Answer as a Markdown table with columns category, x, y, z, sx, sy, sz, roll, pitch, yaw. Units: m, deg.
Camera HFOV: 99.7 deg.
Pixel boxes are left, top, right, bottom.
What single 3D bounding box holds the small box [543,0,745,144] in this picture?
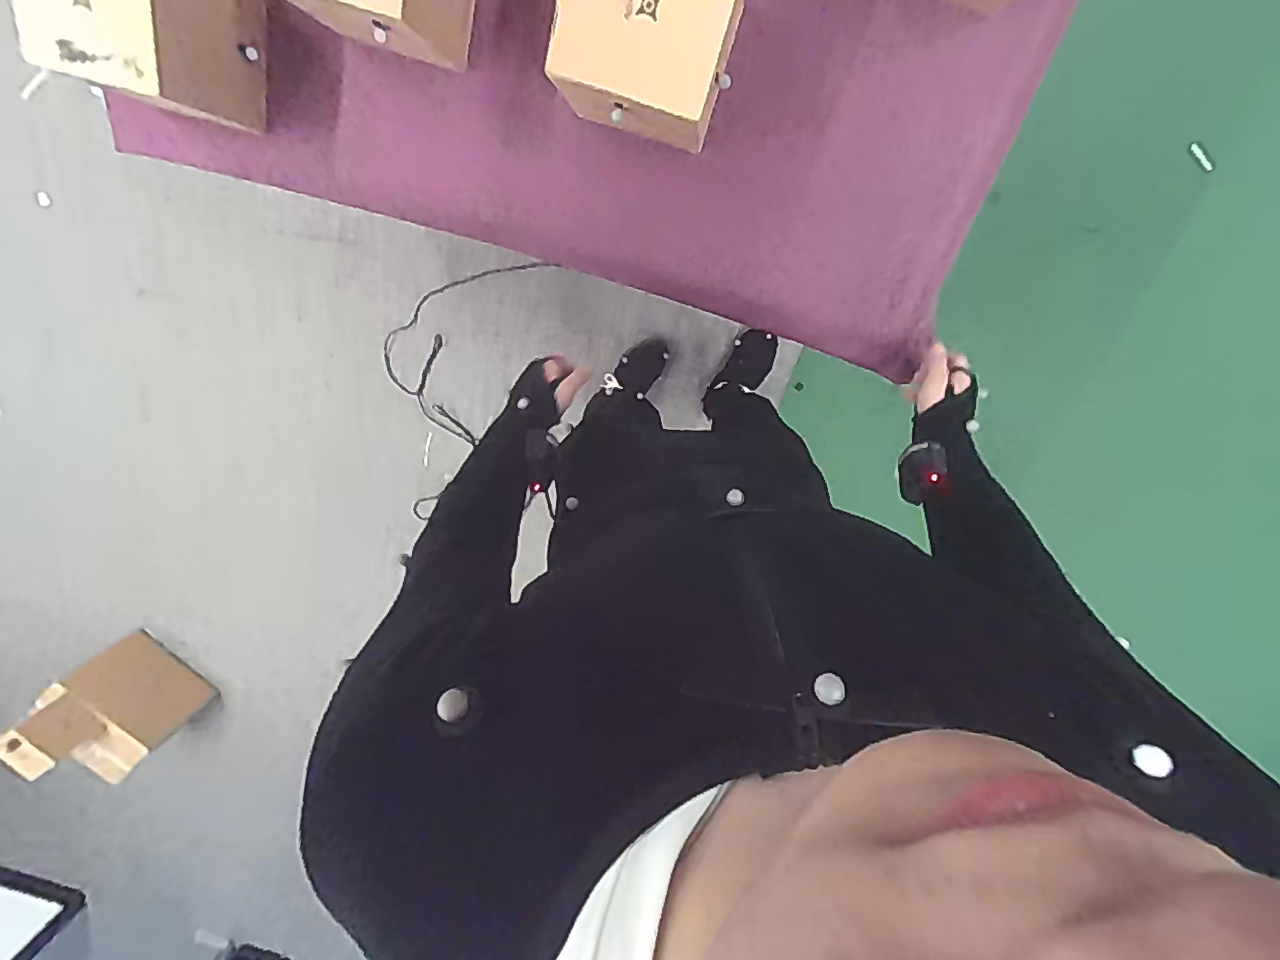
| category | x | y | z | sx | sy | sz | roll | pitch | yaw |
| --- | --- | --- | --- | --- | --- | --- | --- | --- | --- |
| small box | 0.013 | -0.502 | 0.608 | 0.179 | 0.176 | 0.168 | 19 | 113 | 1 |

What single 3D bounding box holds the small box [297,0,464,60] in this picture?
| category | x | y | z | sx | sy | sz | roll | pitch | yaw |
| --- | --- | --- | --- | --- | --- | --- | --- | --- | --- |
| small box | -0.300 | -0.606 | 0.600 | 0.179 | 0.176 | 0.168 | 18 | 112 | 0 |

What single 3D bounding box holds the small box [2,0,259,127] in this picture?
| category | x | y | z | sx | sy | sz | roll | pitch | yaw |
| --- | --- | --- | --- | --- | --- | --- | --- | --- | --- |
| small box | -0.597 | -0.563 | 0.651 | 0.168 | 0.176 | 0.179 | 16 | 111 | 1 |

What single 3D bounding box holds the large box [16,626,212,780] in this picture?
| category | x | y | z | sx | sy | sz | roll | pitch | yaw |
| --- | --- | --- | --- | --- | --- | --- | --- | --- | --- |
| large box | -2.022 | 0.858 | 2.102 | 0.320 | 0.320 | 0.408 | -38 | 104 | 20 |
